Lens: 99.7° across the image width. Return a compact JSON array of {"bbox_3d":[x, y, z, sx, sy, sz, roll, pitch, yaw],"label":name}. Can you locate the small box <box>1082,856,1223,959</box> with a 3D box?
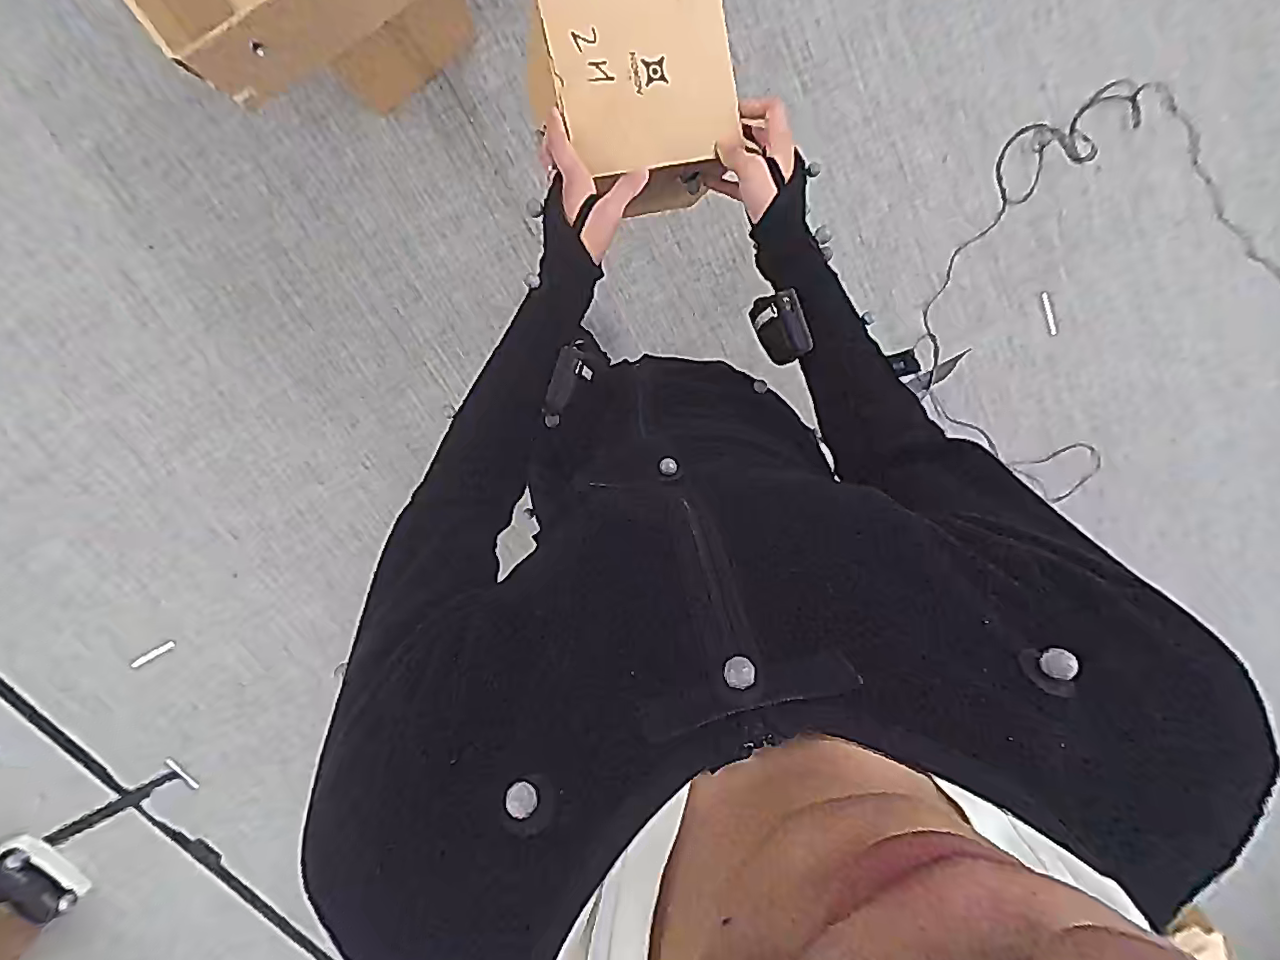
[{"bbox_3d":[1.180,1.022,1.257,0.168,0.176,0.179,-30,109,3],"label":"small box"}]

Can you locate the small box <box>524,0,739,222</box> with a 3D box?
[{"bbox_3d":[-0.018,-0.393,0.573,0.179,0.176,0.168,-15,103,-10],"label":"small box"}]
